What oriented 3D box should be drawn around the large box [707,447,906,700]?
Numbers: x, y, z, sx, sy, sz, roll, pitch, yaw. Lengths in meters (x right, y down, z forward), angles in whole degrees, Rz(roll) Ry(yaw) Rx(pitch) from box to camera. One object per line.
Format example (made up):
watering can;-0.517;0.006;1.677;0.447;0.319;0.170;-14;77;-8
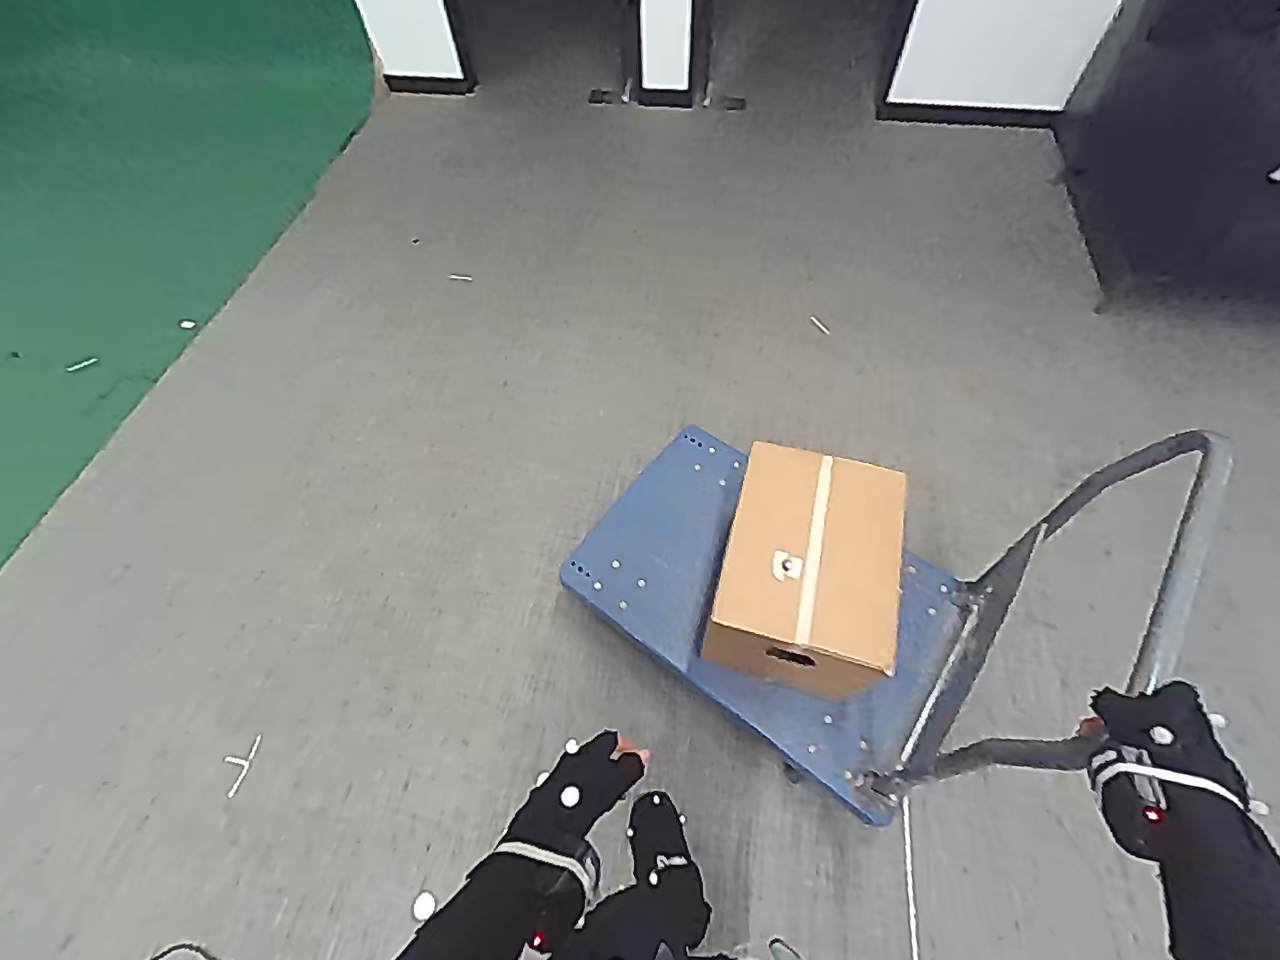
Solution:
large box;0.342;0.201;1.149;0.320;0.320;0.408;13;61;10
